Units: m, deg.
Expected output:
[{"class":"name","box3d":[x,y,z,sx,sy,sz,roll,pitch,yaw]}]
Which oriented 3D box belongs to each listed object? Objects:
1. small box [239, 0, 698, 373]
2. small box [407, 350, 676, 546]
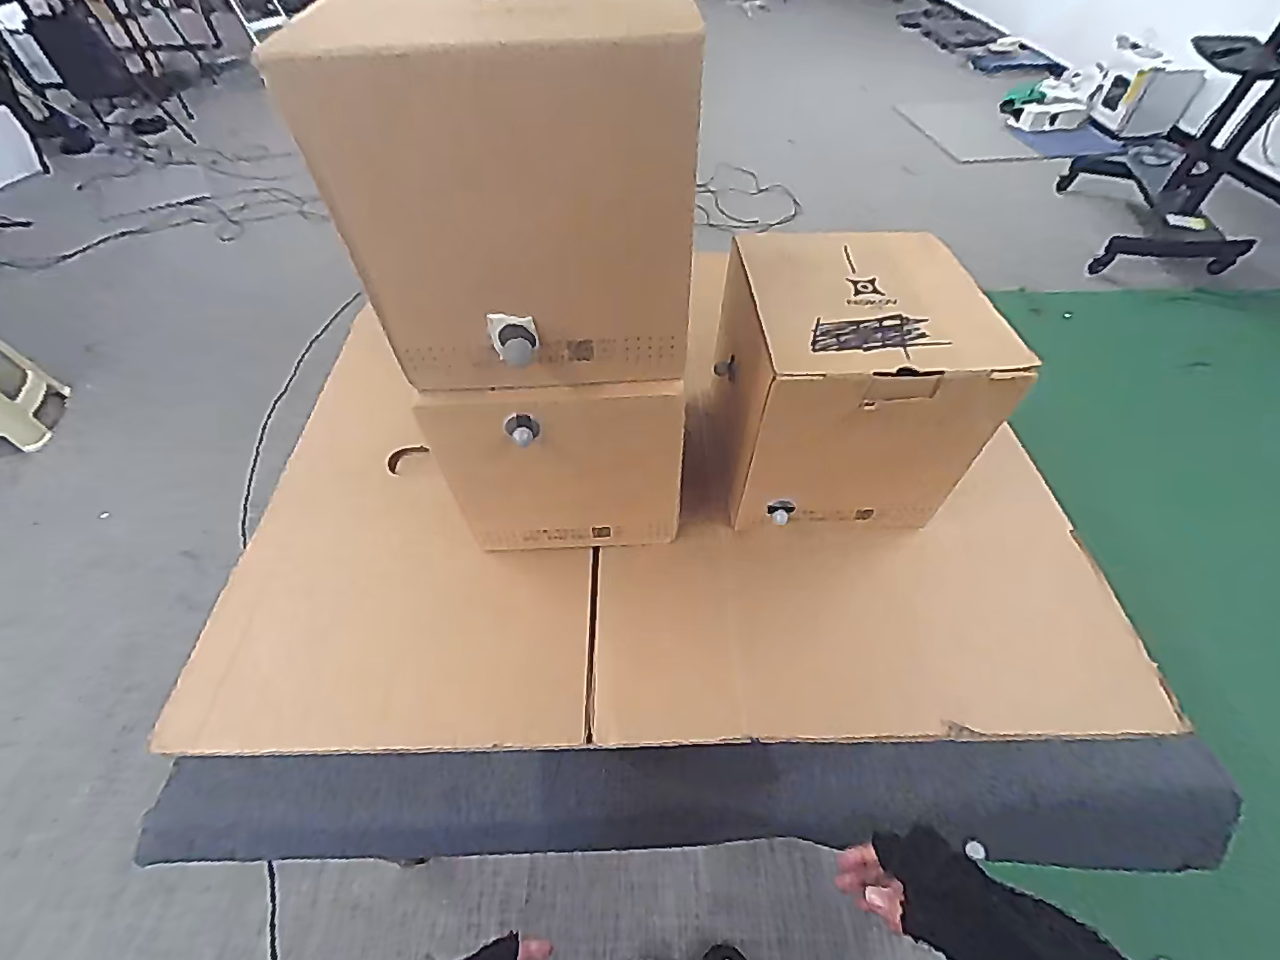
[{"class":"small box","box3d":[-0.064,-0.183,0.304,0.168,0.176,0.179,-5,53,-1]},{"class":"small box","box3d":[-0.059,-0.065,0.438,0.168,0.176,0.179,-3,51,1]}]
